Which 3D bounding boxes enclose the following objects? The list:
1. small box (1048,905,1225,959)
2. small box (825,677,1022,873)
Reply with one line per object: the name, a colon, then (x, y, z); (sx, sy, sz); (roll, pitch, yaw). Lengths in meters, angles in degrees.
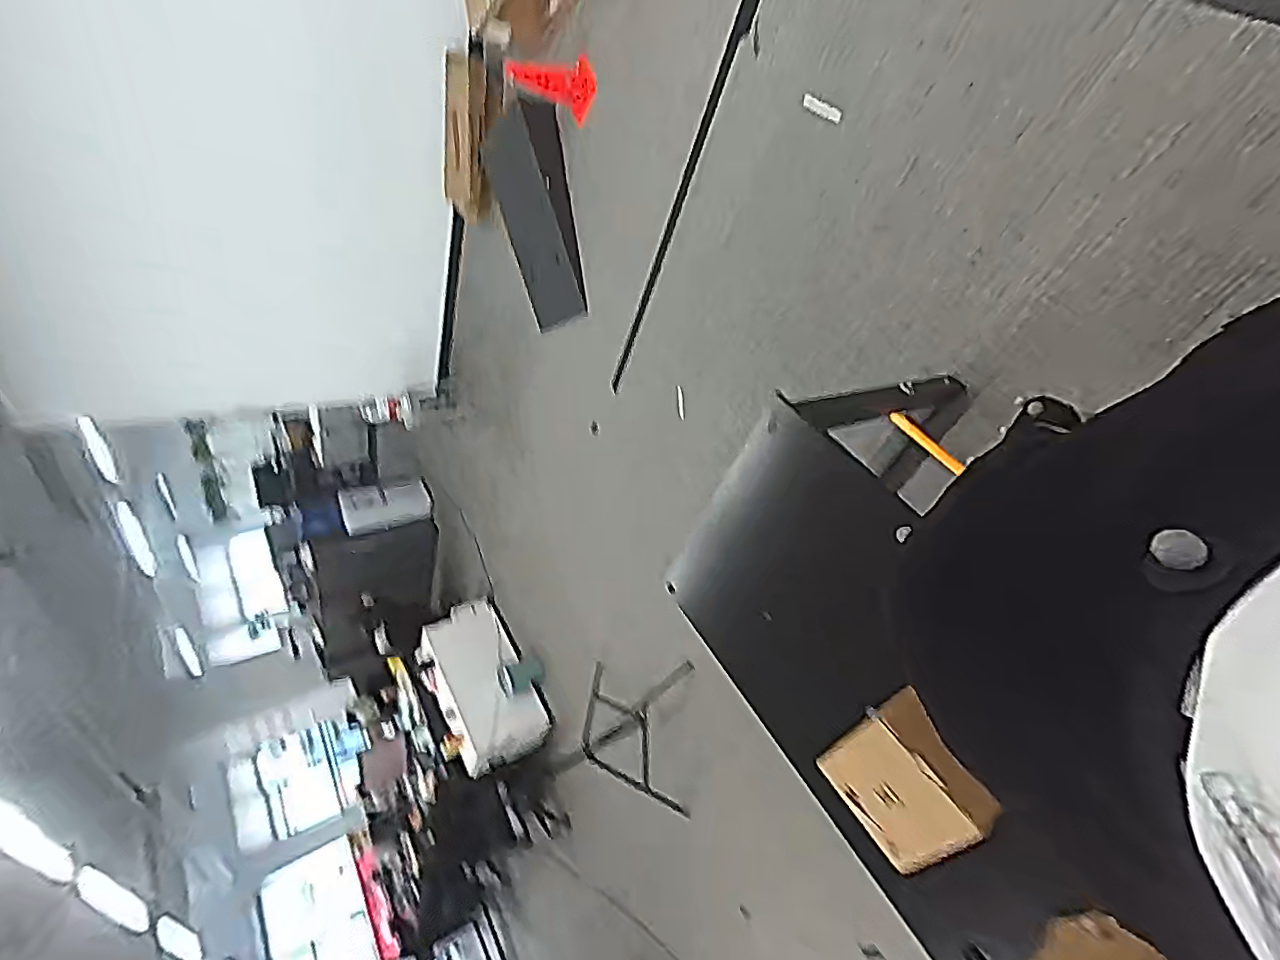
small box: (0.602, 0.641, 0.616); (0.179, 0.176, 0.168); (53, 138, 30)
small box: (0.419, 0.424, 0.797); (0.168, 0.176, 0.179); (51, 137, 31)
